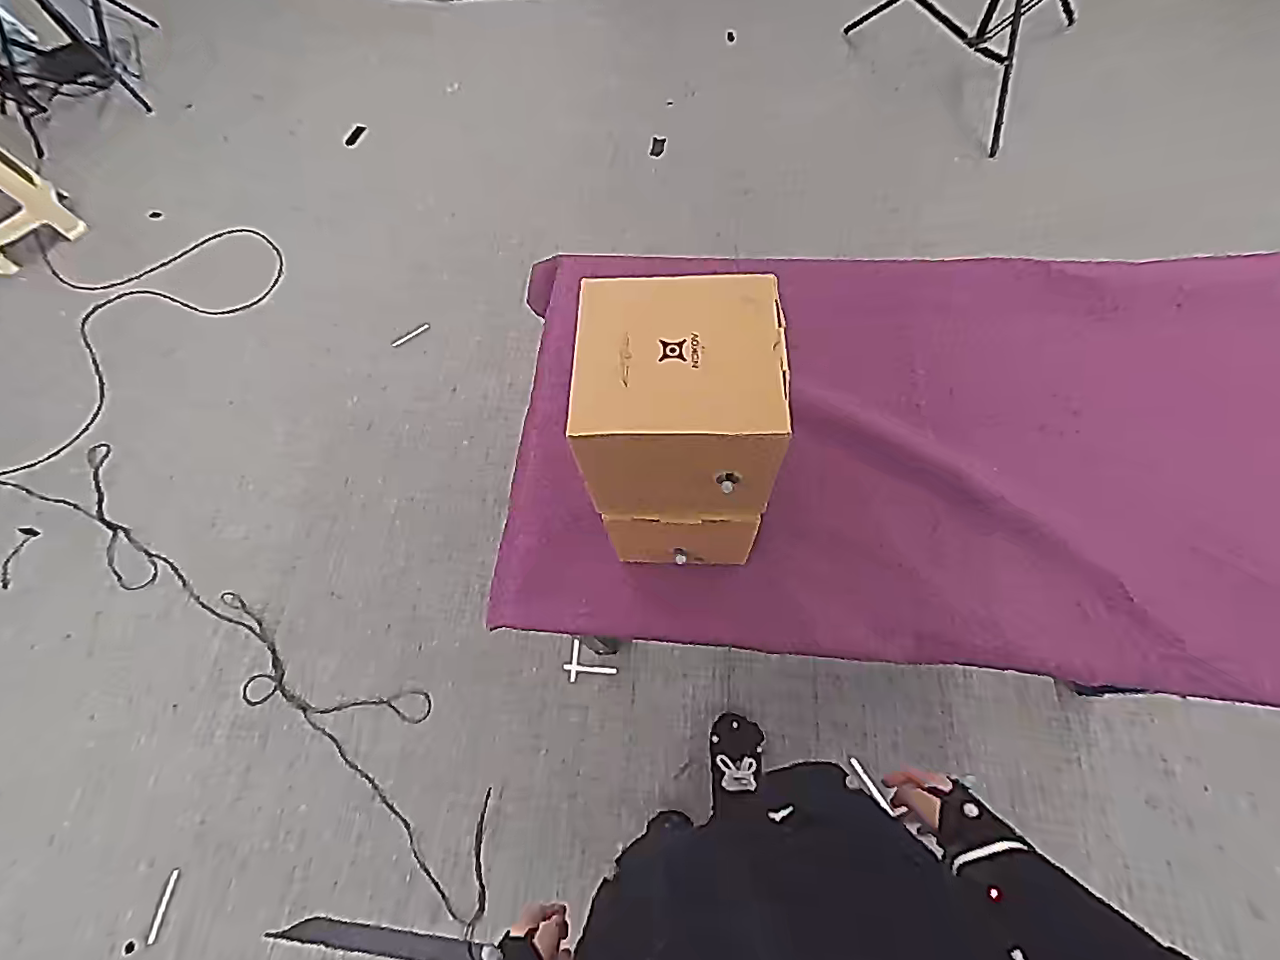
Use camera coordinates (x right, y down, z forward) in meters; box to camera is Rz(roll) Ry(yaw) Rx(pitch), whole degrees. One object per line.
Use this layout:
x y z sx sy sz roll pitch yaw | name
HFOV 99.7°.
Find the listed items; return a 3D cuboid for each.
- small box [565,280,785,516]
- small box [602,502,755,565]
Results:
0.035 -0.070 0.528 0.179 0.176 0.168 -1 64 5 | small box
0.049 -0.003 0.675 0.168 0.176 0.179 1 66 5 | small box
